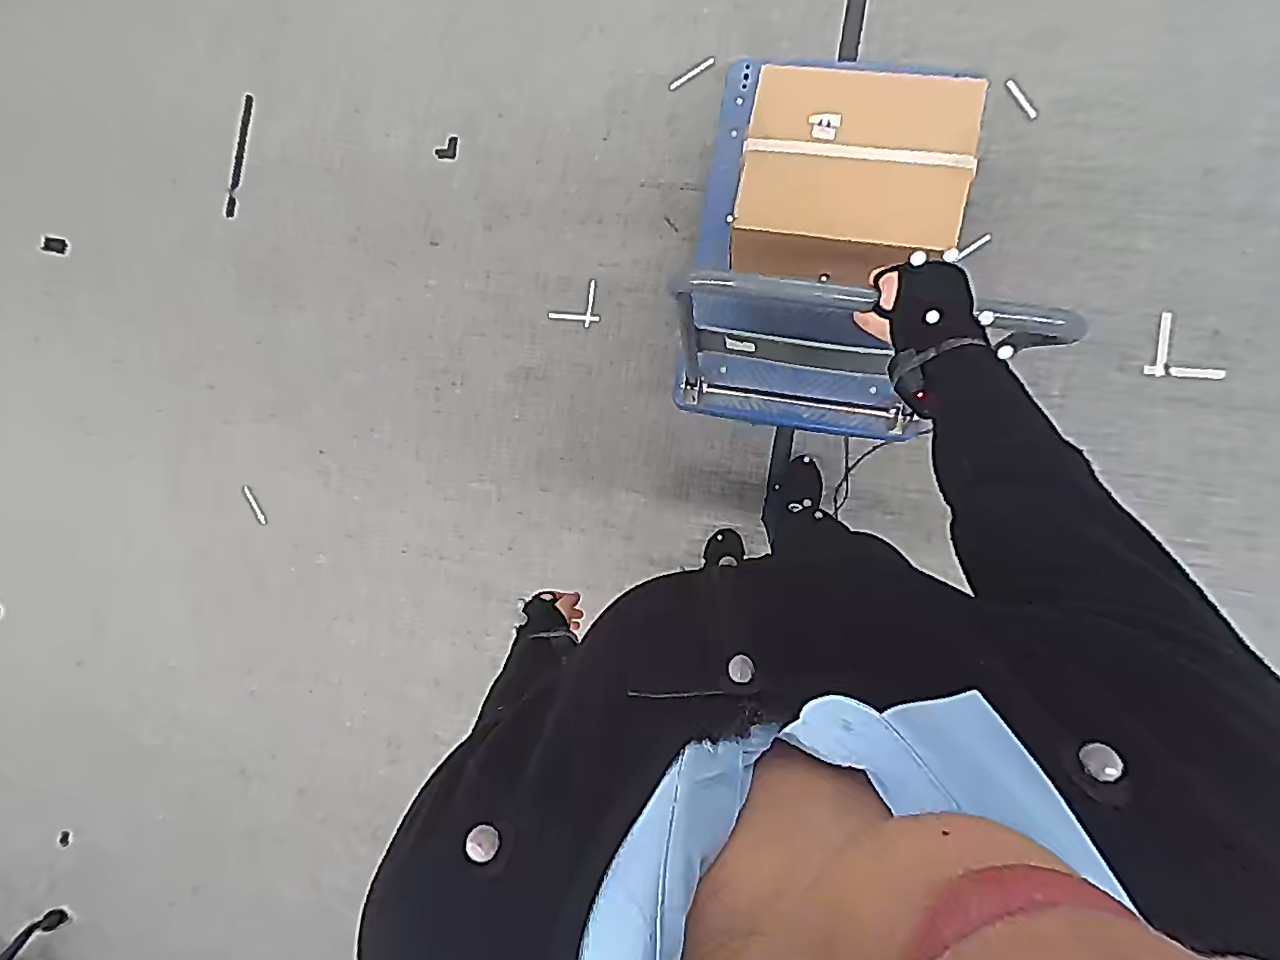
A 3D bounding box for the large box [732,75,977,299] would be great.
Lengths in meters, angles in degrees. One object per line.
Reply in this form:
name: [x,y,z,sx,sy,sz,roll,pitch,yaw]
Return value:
large box: [0.422,-0.601,1.157,0.408,0.320,0.320,10,90,10]
